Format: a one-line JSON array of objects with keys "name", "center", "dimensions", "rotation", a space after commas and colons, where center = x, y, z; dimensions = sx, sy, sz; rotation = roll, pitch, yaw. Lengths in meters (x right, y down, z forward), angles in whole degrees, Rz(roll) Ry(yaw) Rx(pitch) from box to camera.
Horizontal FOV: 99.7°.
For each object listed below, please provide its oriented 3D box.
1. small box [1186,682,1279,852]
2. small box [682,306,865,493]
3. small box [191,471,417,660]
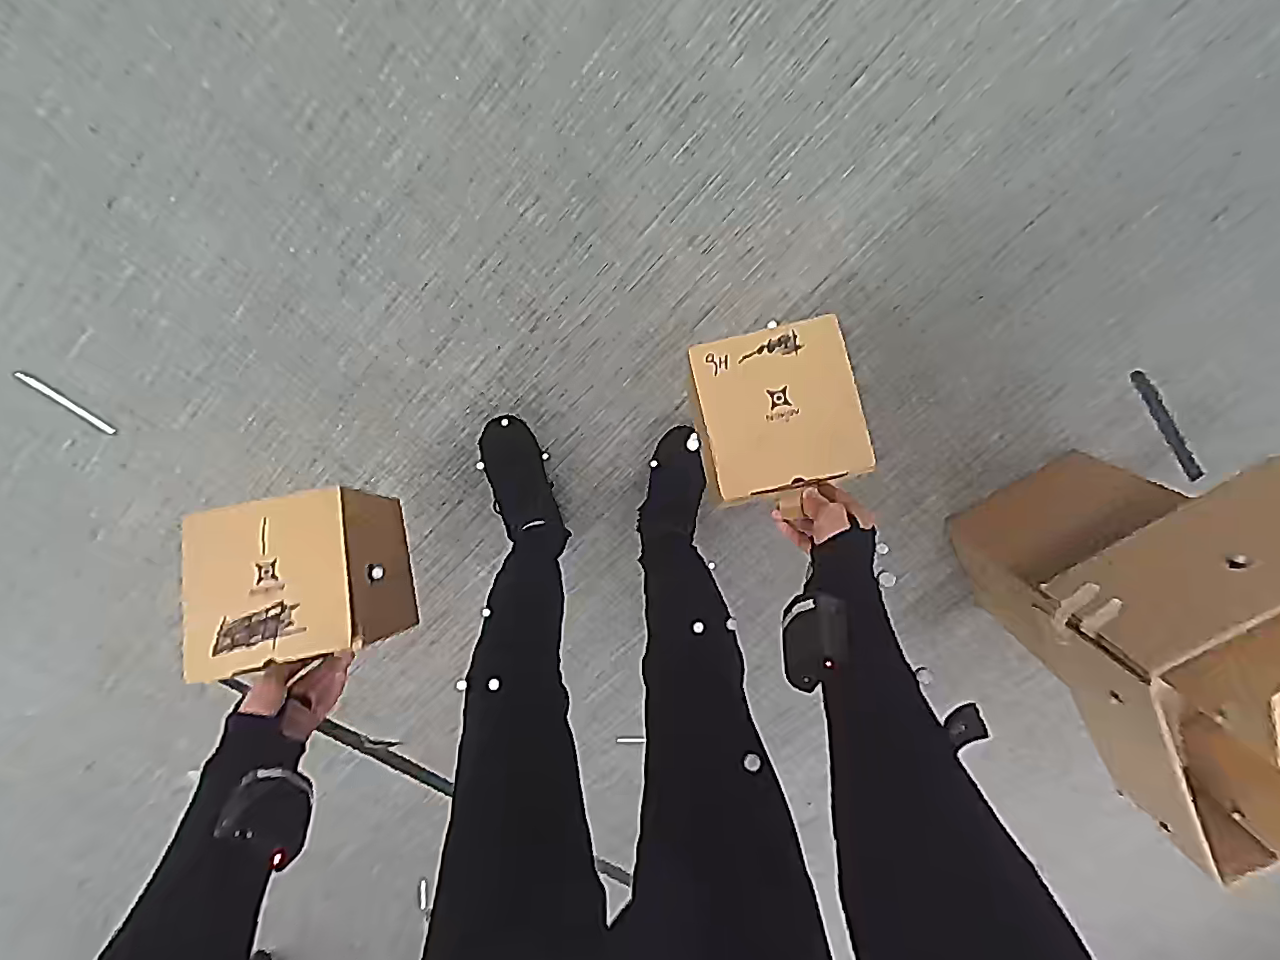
[{"name": "small box", "center": [1.030, 0.461, 0.855], "dimensions": [0.168, 0.176, 0.179], "rotation": [-32, 113, 7]}, {"name": "small box", "center": [0.150, -0.082, 0.660], "dimensions": [0.168, 0.176, 0.179], "rotation": [-12, 84, 3]}, {"name": "small box", "center": [-0.386, 0.098, 0.651], "dimensions": [0.168, 0.176, 0.179], "rotation": [-11, 83, -5]}]
